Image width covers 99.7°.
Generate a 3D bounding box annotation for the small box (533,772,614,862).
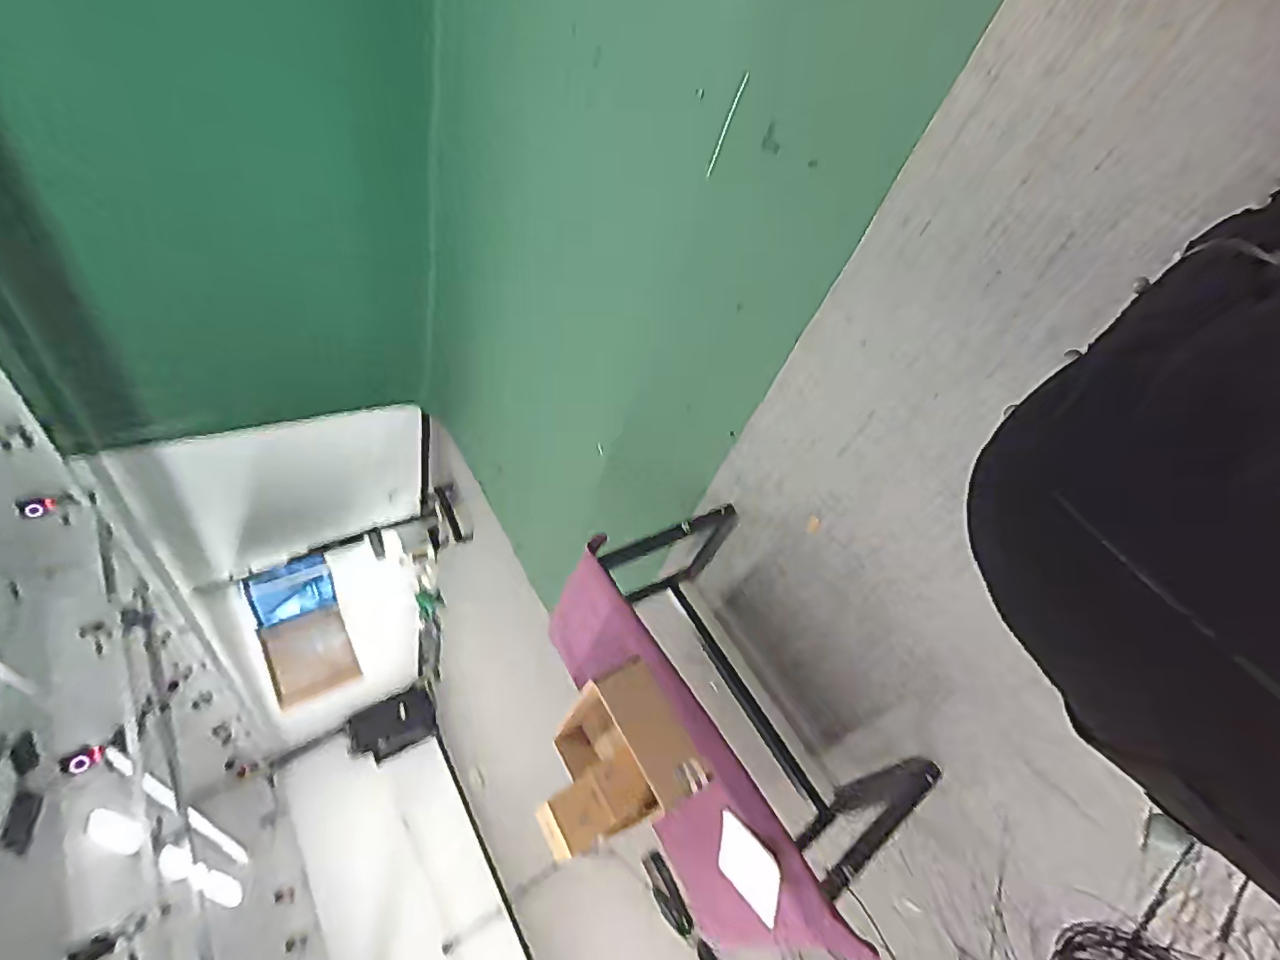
[{"bbox_3d":[-0.203,1.036,1.670,0.168,0.176,0.179,56,141,23],"label":"small box"}]
